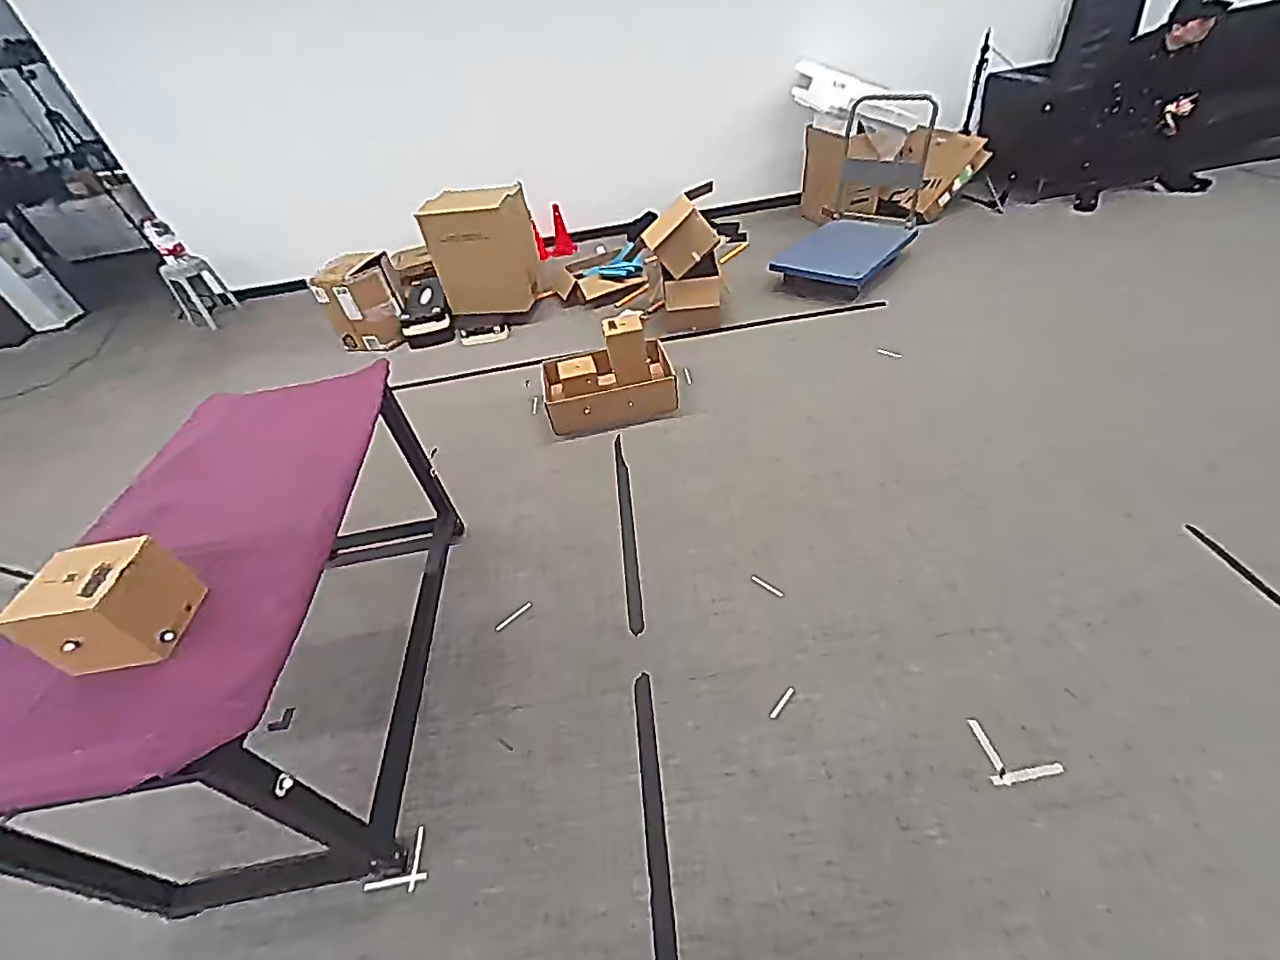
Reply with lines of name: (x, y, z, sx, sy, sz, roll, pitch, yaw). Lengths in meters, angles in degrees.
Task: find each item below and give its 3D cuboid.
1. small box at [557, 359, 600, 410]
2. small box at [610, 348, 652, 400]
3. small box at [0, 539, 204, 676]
small box: (-0.298, -0.464, 2.641, 0.179, 0.176, 0.168, -13, 41, -5)
small box: (-0.045, -0.519, 2.656, 0.168, 0.176, 0.179, -14, 42, -2)
small box: (-0.963, 0.234, 0.988, 0.179, 0.176, 0.168, -10, 41, 0)
